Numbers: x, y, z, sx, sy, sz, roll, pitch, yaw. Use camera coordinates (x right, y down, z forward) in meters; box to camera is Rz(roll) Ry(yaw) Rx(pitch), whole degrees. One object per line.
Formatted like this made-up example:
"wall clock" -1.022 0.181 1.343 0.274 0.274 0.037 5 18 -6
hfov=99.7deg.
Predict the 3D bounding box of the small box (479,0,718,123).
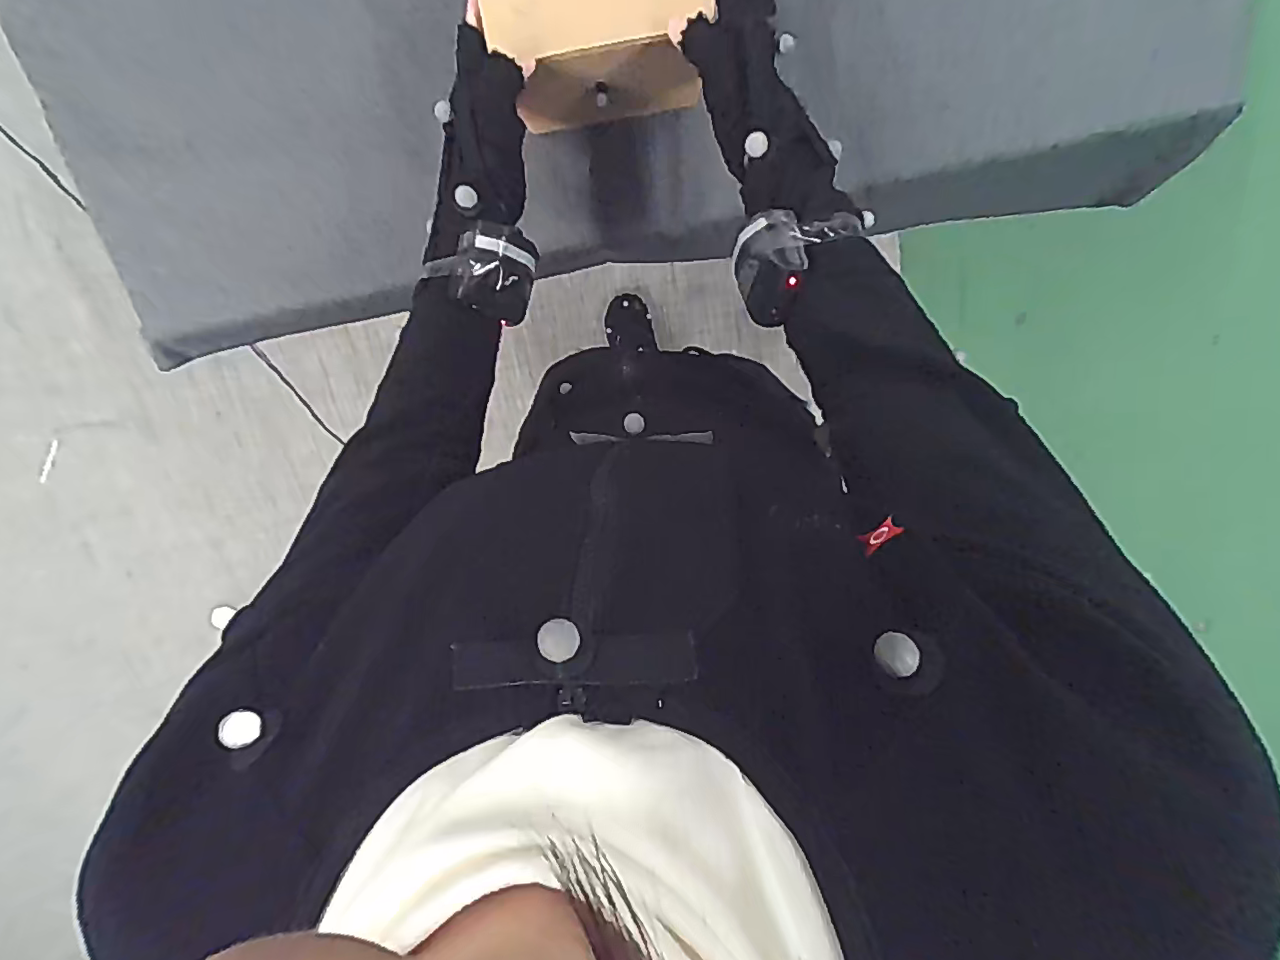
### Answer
"small box" -0.039 -0.429 0.455 0.179 0.176 0.168 -8 108 3
